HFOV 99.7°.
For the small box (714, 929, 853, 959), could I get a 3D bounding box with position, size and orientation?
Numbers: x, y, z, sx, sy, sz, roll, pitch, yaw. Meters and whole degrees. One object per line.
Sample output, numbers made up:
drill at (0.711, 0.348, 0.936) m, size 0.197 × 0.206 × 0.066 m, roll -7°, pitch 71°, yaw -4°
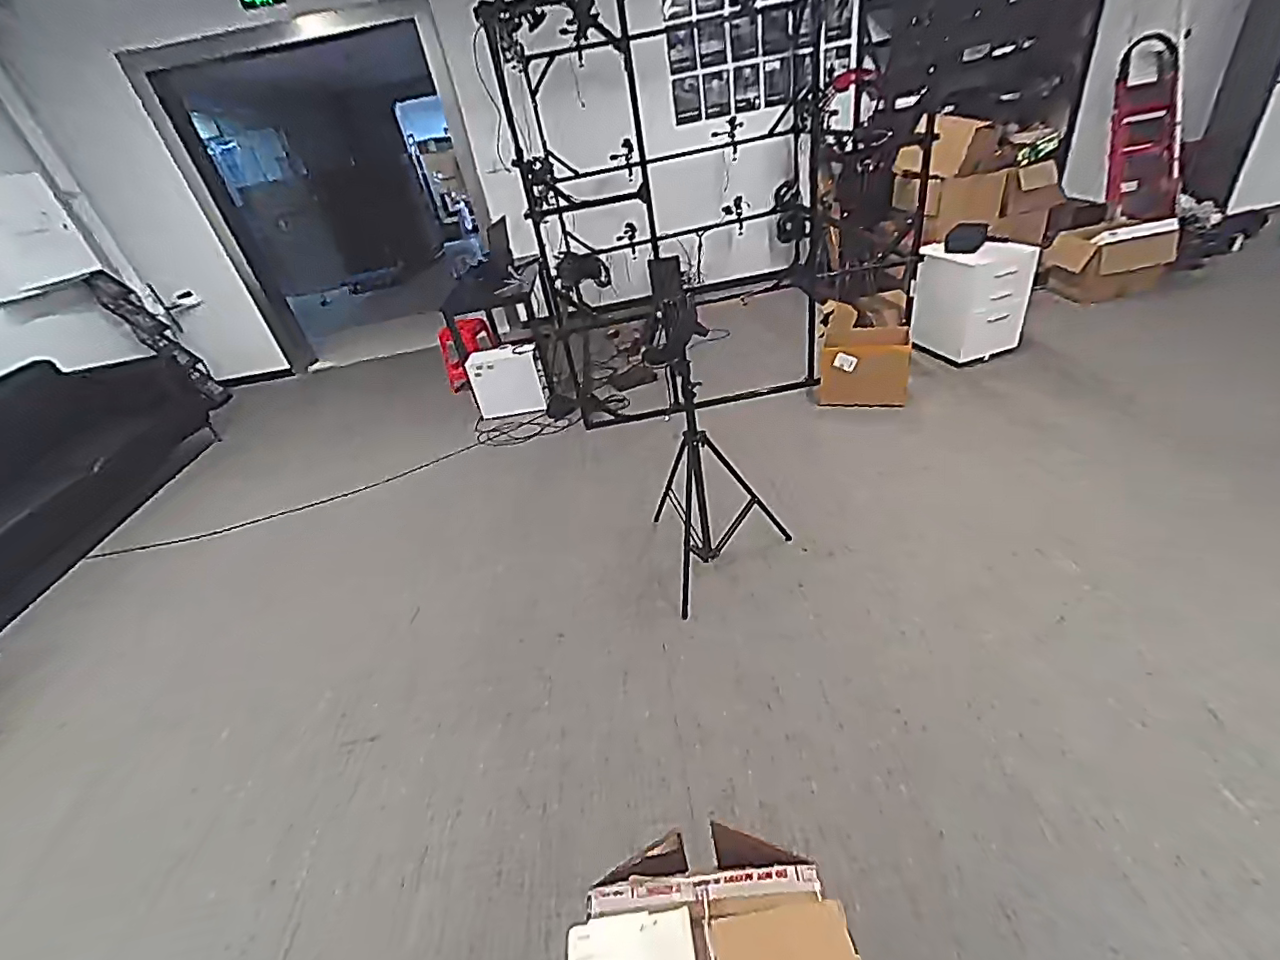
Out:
small box at (0.198, 0.709, 0.684) m, size 0.179 × 0.176 × 0.168 m, roll -11°, pitch 35°, yaw -1°
